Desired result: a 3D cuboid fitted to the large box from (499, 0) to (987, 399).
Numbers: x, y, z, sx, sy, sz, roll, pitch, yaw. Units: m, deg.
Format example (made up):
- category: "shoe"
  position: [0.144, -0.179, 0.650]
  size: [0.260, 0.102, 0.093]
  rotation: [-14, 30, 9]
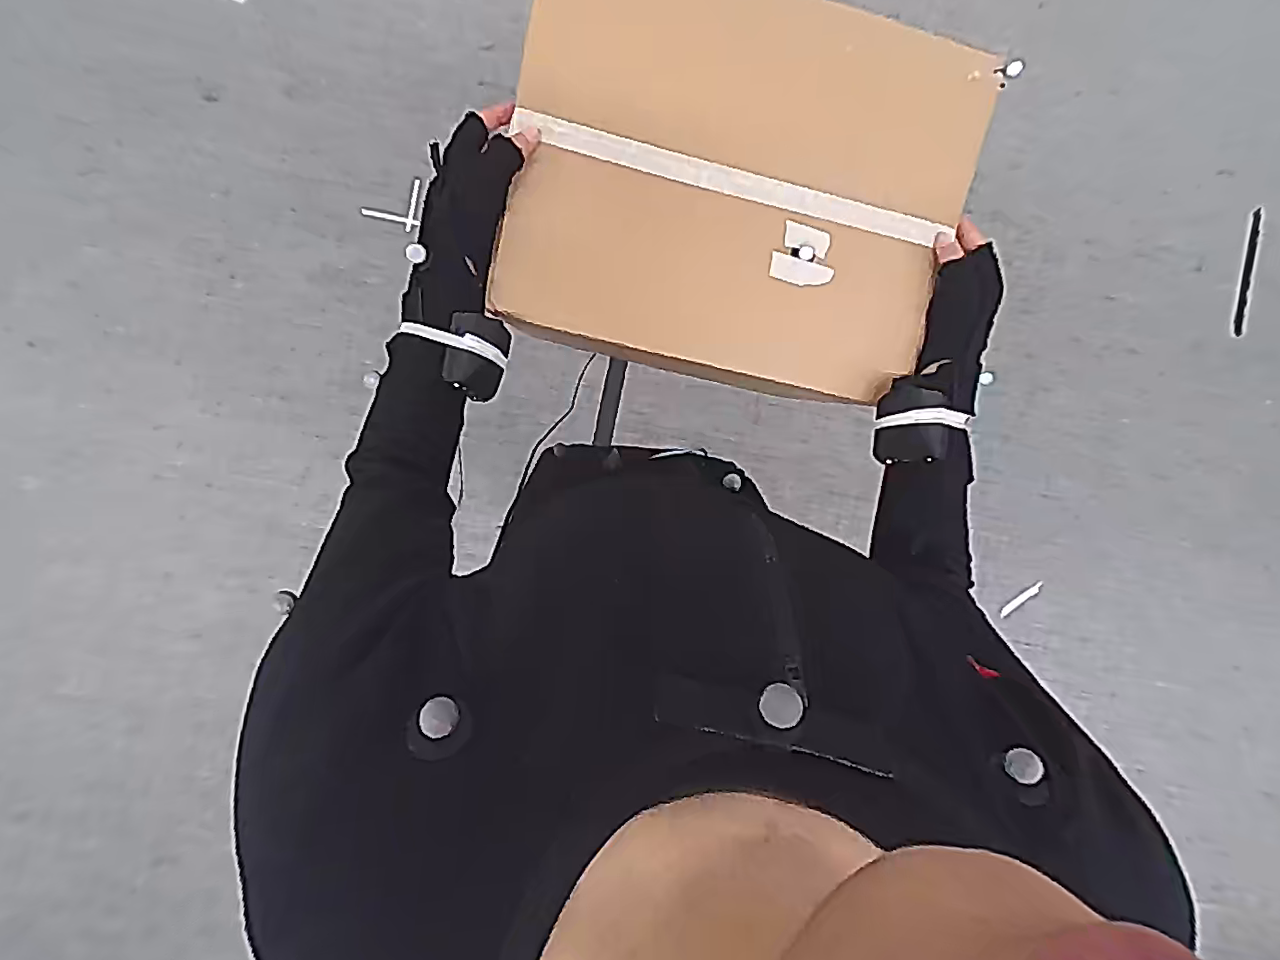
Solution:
- category: "large box"
  position: [0.077, -0.291, 0.634]
  size: [0.408, 0.320, 0.320]
  rotation: [12, 101, -8]
